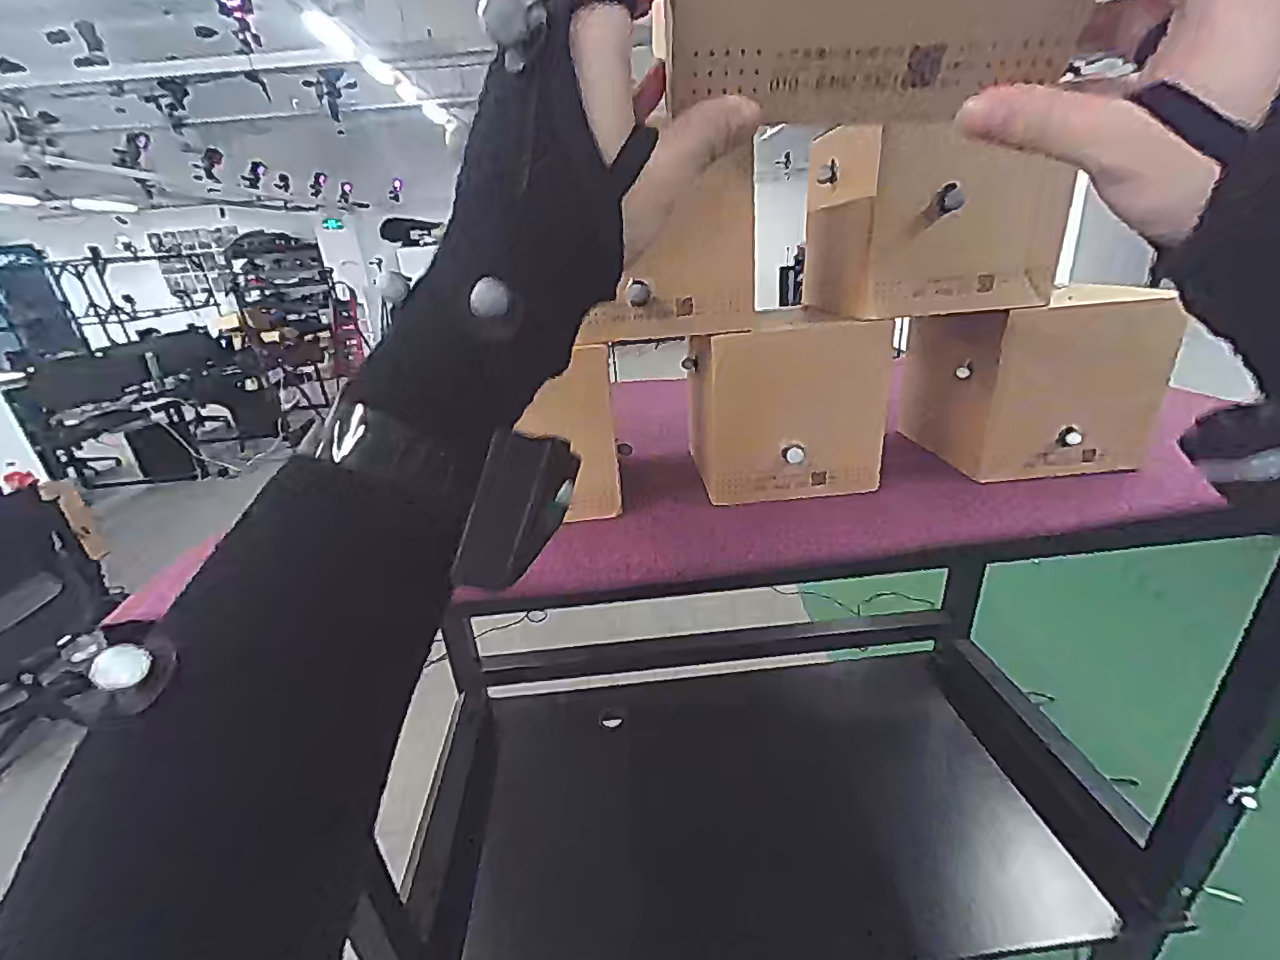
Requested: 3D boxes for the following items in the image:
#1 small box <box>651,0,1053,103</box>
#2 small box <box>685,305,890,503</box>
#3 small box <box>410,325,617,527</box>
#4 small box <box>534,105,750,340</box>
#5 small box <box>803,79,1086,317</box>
[{"bbox_3d":[0.089,-0.283,0.238,0.168,0.176,0.179,-1,47,0],"label":"small box"},{"bbox_3d":[0.138,-0.088,0.575,0.168,0.176,0.179,-5,23,-1],"label":"small box"},{"bbox_3d":[-0.114,-0.065,0.563,0.168,0.176,0.179,-6,22,-2],"label":"small box"},{"bbox_3d":[0.005,-0.229,0.511,0.168,0.176,0.179,-5,23,1],"label":"small box"},{"bbox_3d":[0.262,-0.249,0.514,0.168,0.176,0.179,-5,22,0],"label":"small box"}]
